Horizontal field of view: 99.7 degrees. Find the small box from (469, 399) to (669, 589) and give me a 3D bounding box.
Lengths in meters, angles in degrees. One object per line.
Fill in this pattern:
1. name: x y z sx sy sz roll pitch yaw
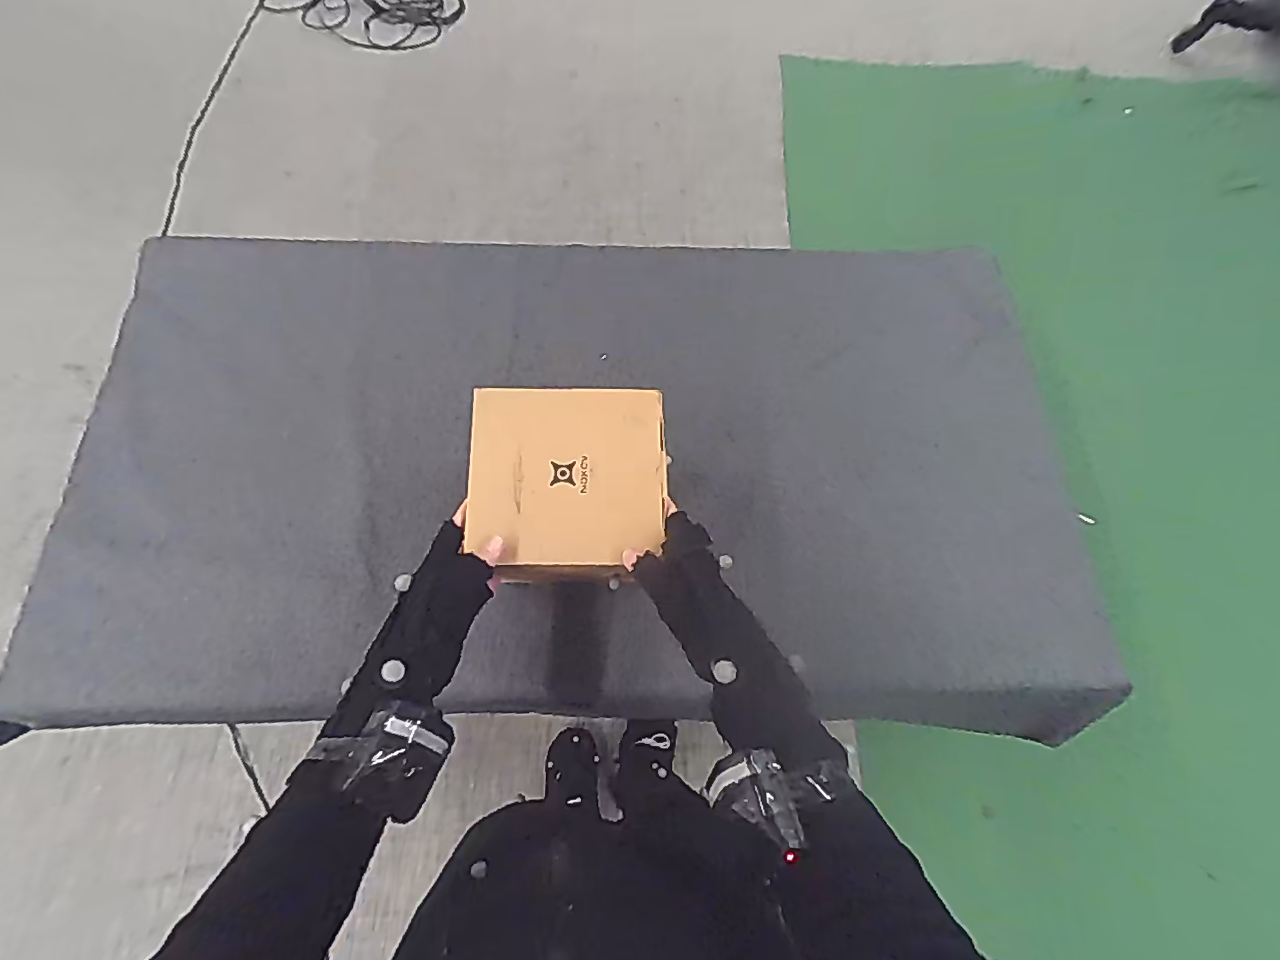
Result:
1. small box: -0.068 0.024 0.569 0.179 0.176 0.168 -1 74 -3
